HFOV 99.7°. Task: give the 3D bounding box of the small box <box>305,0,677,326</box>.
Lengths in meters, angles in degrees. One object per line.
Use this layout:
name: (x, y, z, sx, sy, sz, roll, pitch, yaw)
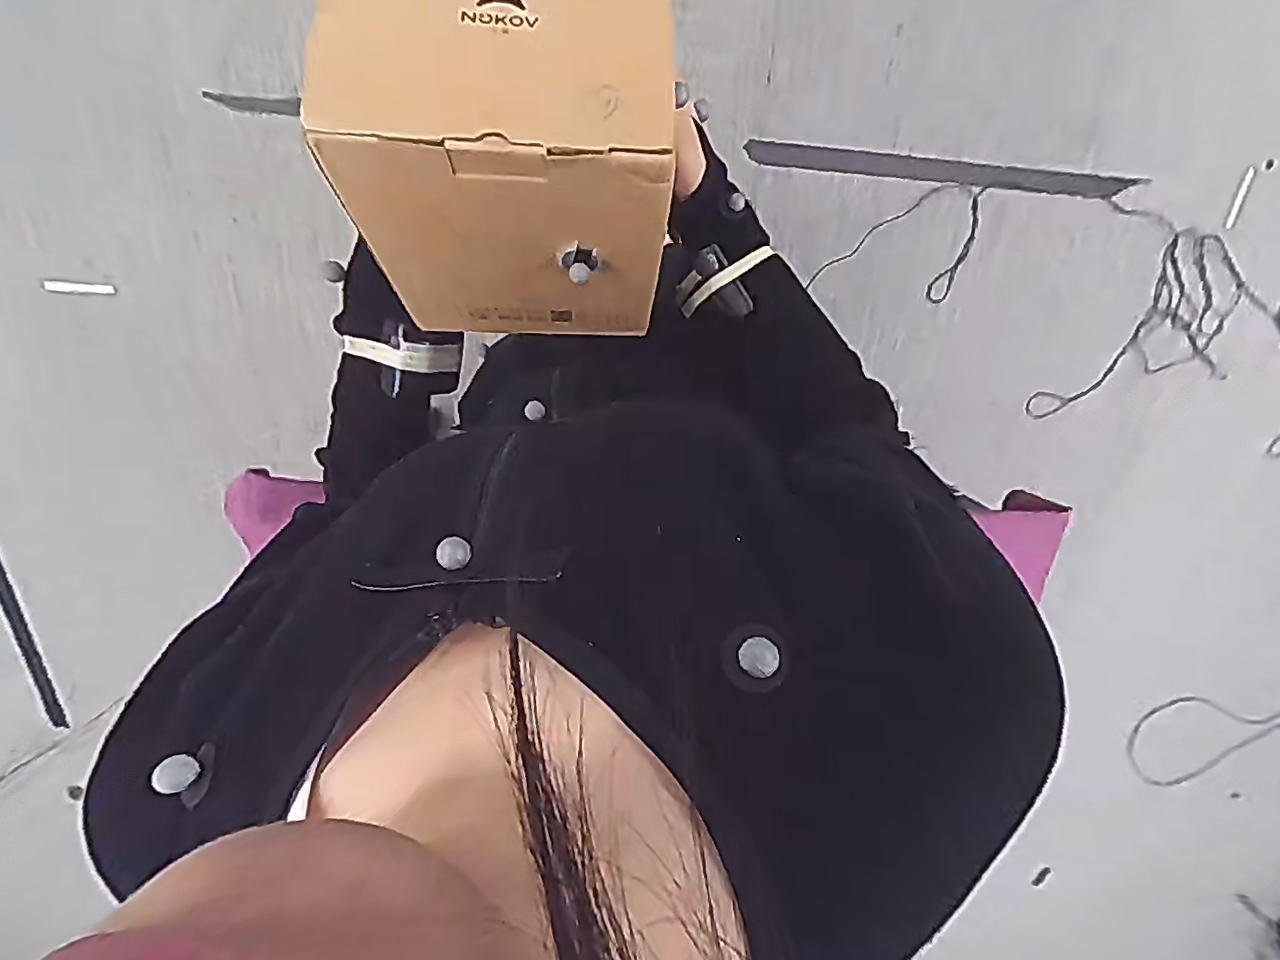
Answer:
small box: (-0.070, -0.212, 0.334, 0.168, 0.176, 0.179, 1, 76, -6)
